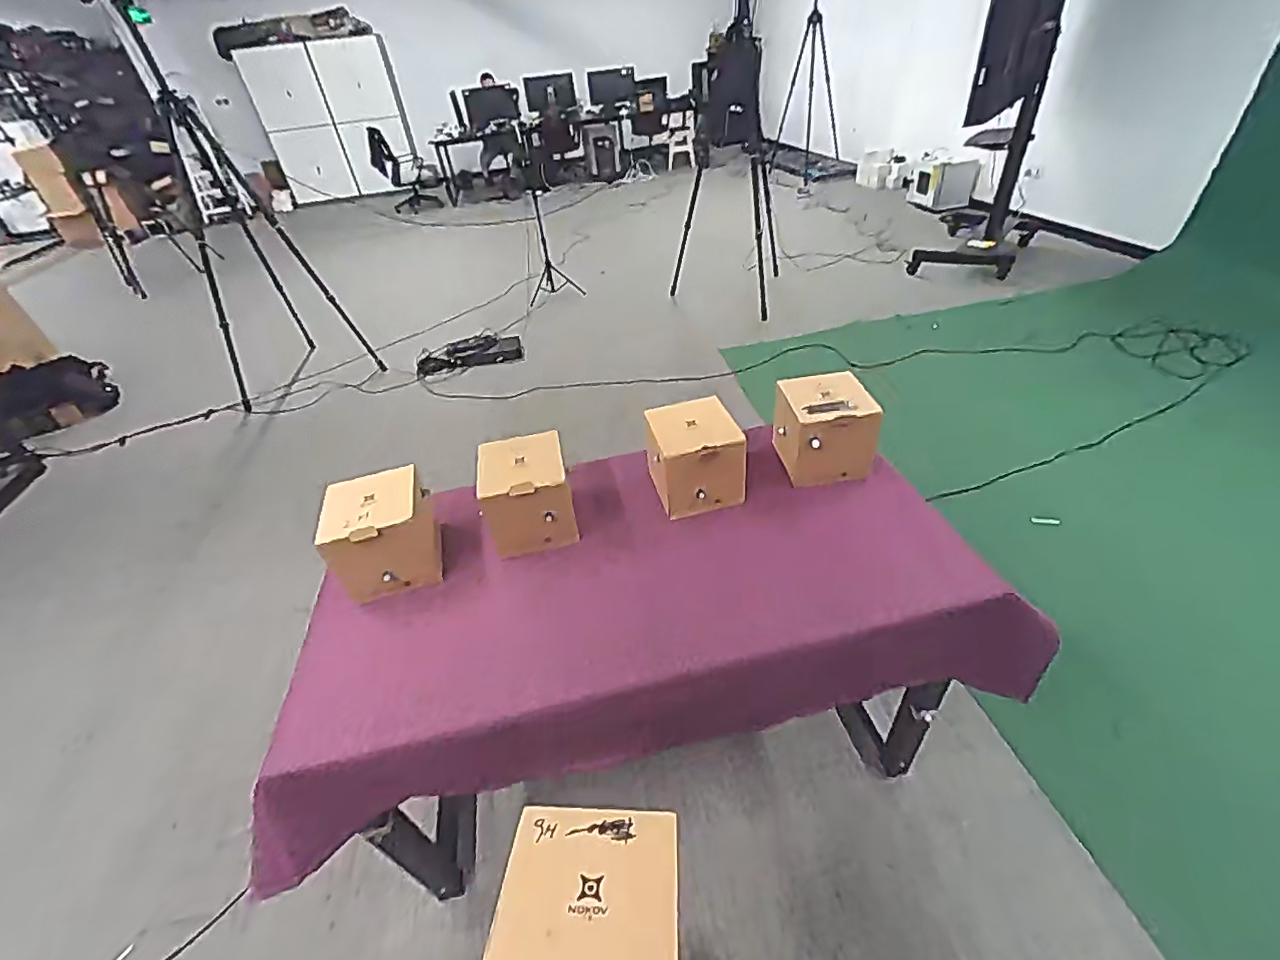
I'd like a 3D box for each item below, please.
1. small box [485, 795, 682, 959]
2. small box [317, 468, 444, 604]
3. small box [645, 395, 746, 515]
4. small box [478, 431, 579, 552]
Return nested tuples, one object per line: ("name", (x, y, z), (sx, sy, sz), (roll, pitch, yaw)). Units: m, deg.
("small box", (-0.042, 0.449, 0.533), (0.168, 0.176, 0.179), (1, 25, 3))
("small box", (-0.490, 0.107, 1.049), (0.168, 0.176, 0.179), (-16, 40, -9))
("small box", (0.113, -0.053, 1.142), (0.168, 0.176, 0.179), (-14, 40, -7))
("small box", (-0.224, 0.029, 1.100), (0.168, 0.176, 0.179), (-11, 39, -6))
